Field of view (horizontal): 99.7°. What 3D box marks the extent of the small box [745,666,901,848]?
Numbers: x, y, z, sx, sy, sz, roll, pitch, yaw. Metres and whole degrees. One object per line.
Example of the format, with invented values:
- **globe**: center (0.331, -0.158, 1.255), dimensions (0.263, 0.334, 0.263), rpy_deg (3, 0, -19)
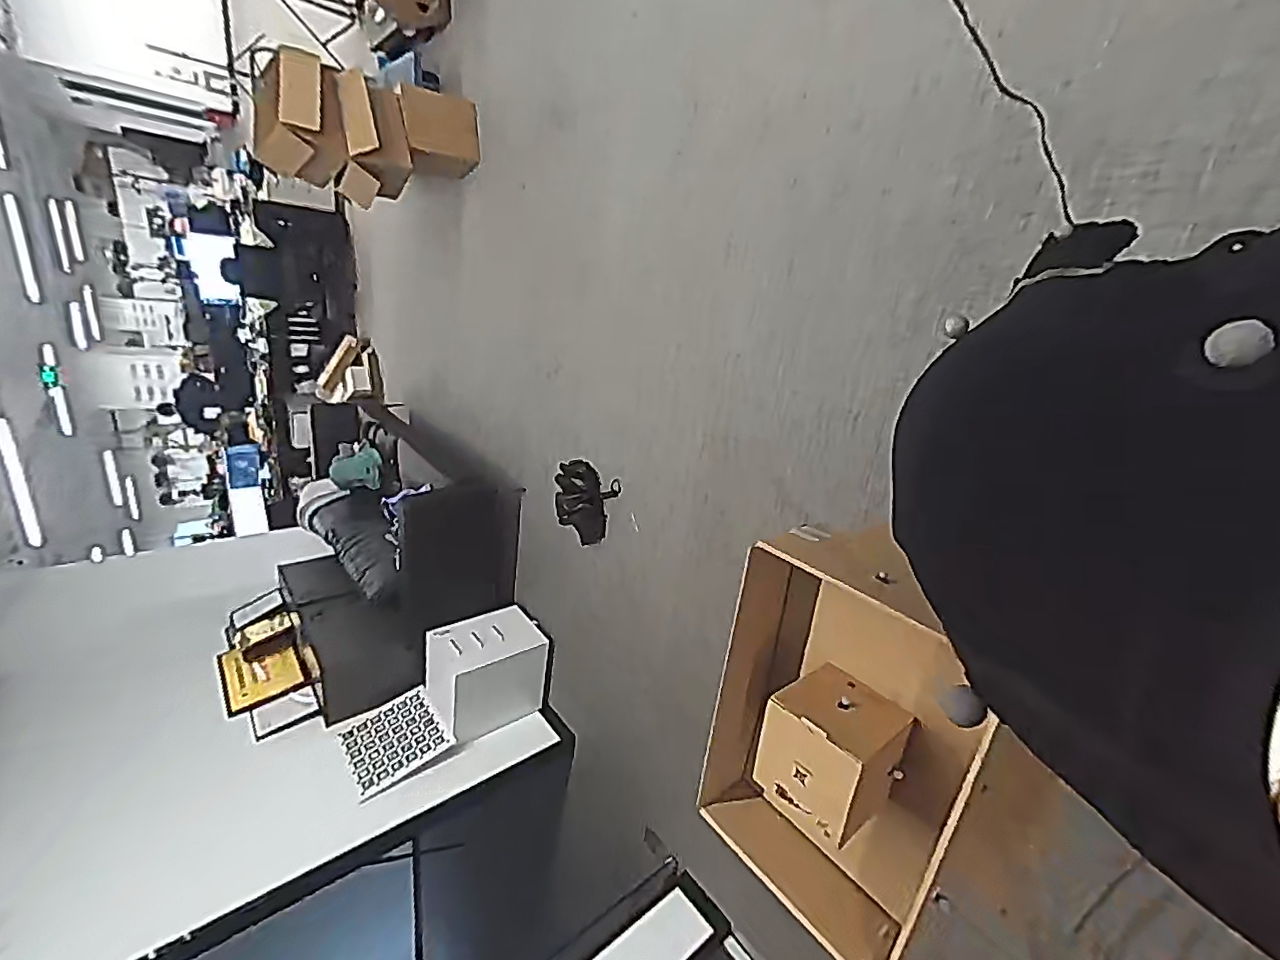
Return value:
- **small box**: center (0.303, 0.441, 0.893), dimensions (0.168, 0.176, 0.179), rpy_deg (27, 117, 45)
